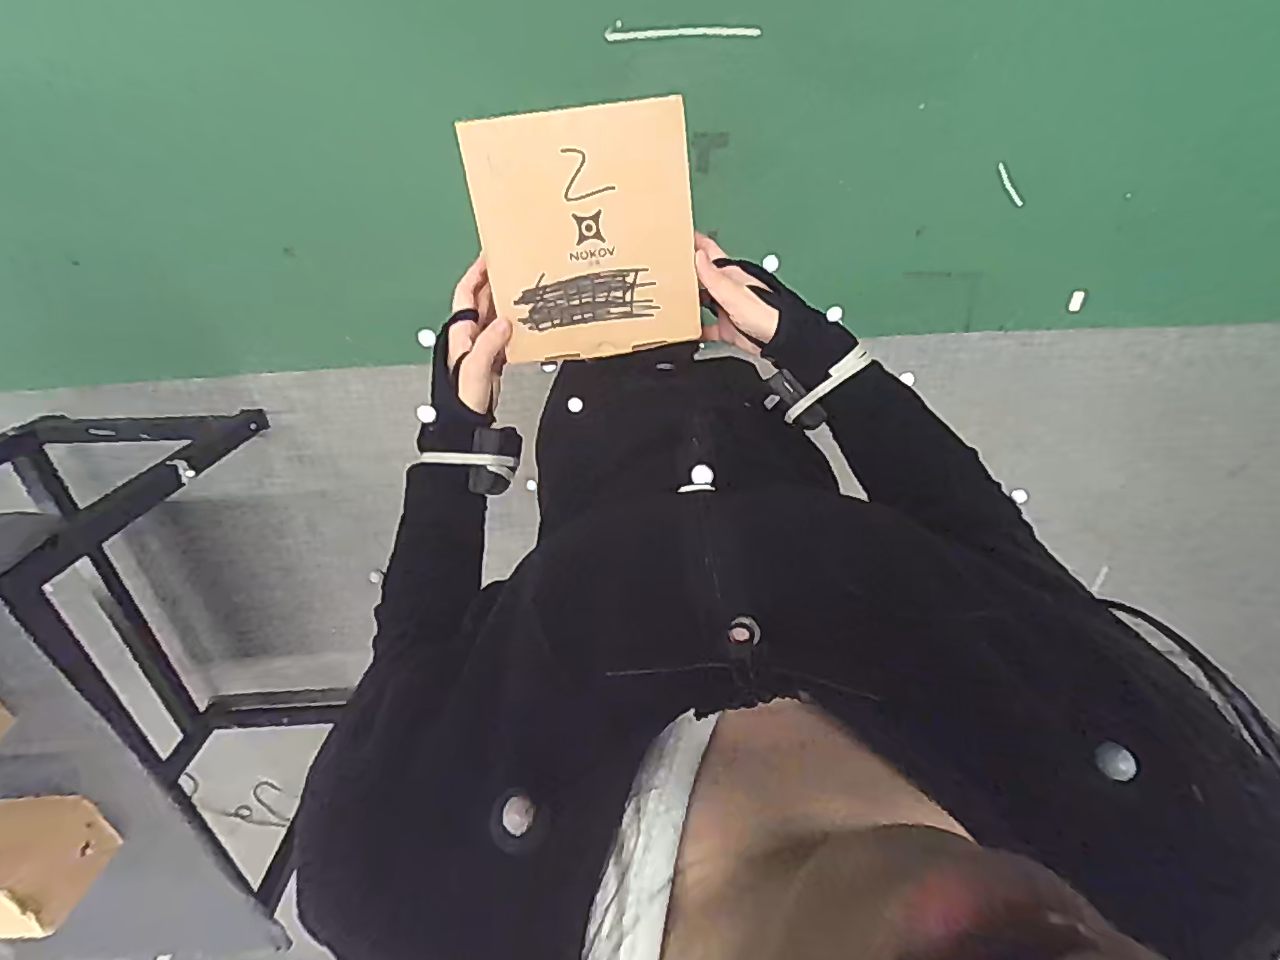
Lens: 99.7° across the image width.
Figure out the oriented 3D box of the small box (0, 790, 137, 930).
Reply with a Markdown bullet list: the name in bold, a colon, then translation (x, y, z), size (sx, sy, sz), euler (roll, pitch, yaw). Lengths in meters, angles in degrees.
- **small box**: translation (-1.151, 0.726, 1.042), size (0.179, 0.176, 0.168), euler (-2, 118, 0)
